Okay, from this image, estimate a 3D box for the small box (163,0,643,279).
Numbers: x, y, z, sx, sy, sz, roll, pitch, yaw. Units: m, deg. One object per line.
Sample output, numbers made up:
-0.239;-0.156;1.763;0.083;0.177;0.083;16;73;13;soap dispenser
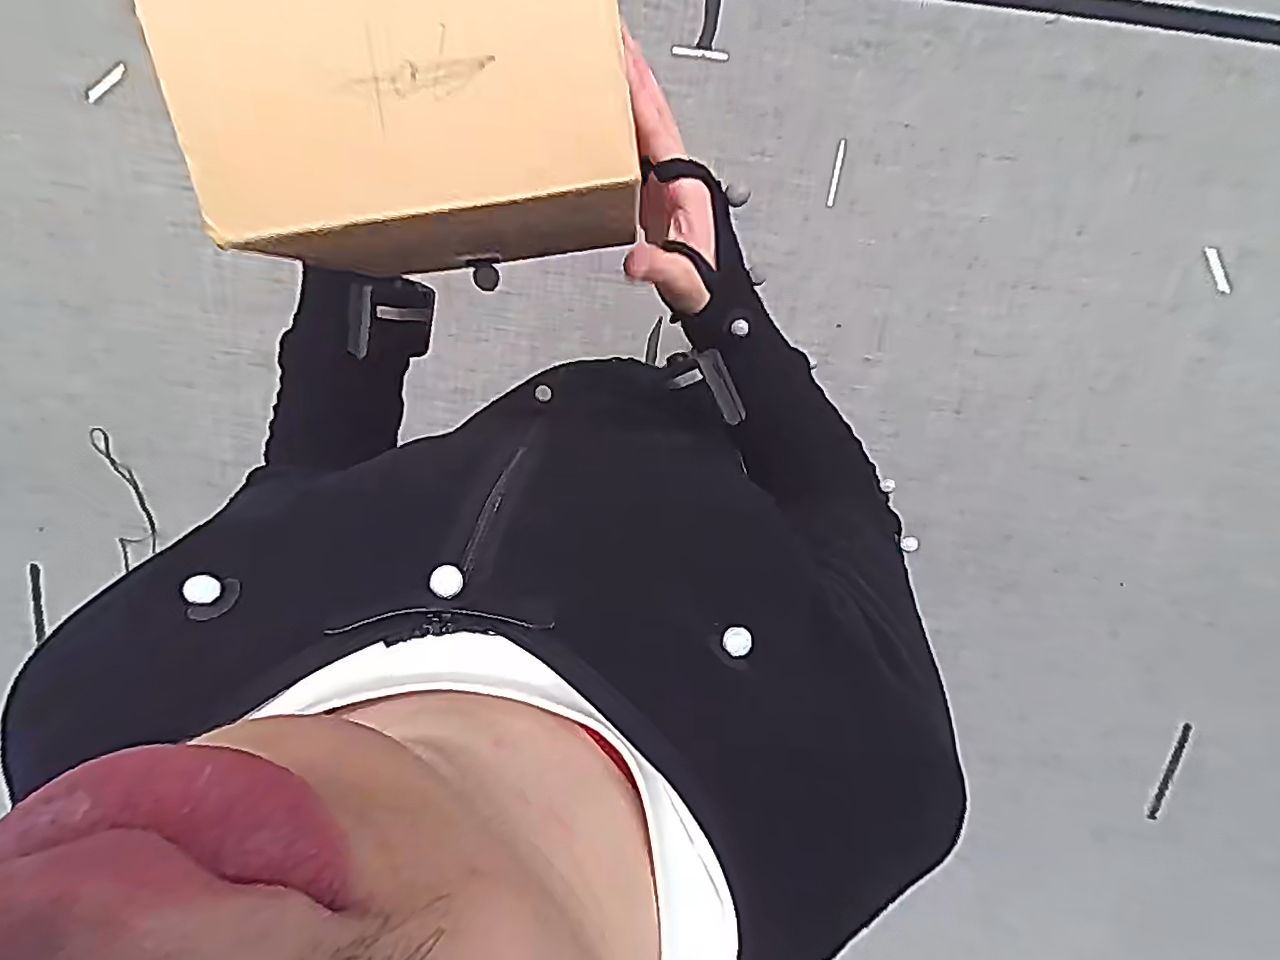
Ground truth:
-0.092;-0.207;0.269;0.168;0.176;0.179;-8;107;2;small box
